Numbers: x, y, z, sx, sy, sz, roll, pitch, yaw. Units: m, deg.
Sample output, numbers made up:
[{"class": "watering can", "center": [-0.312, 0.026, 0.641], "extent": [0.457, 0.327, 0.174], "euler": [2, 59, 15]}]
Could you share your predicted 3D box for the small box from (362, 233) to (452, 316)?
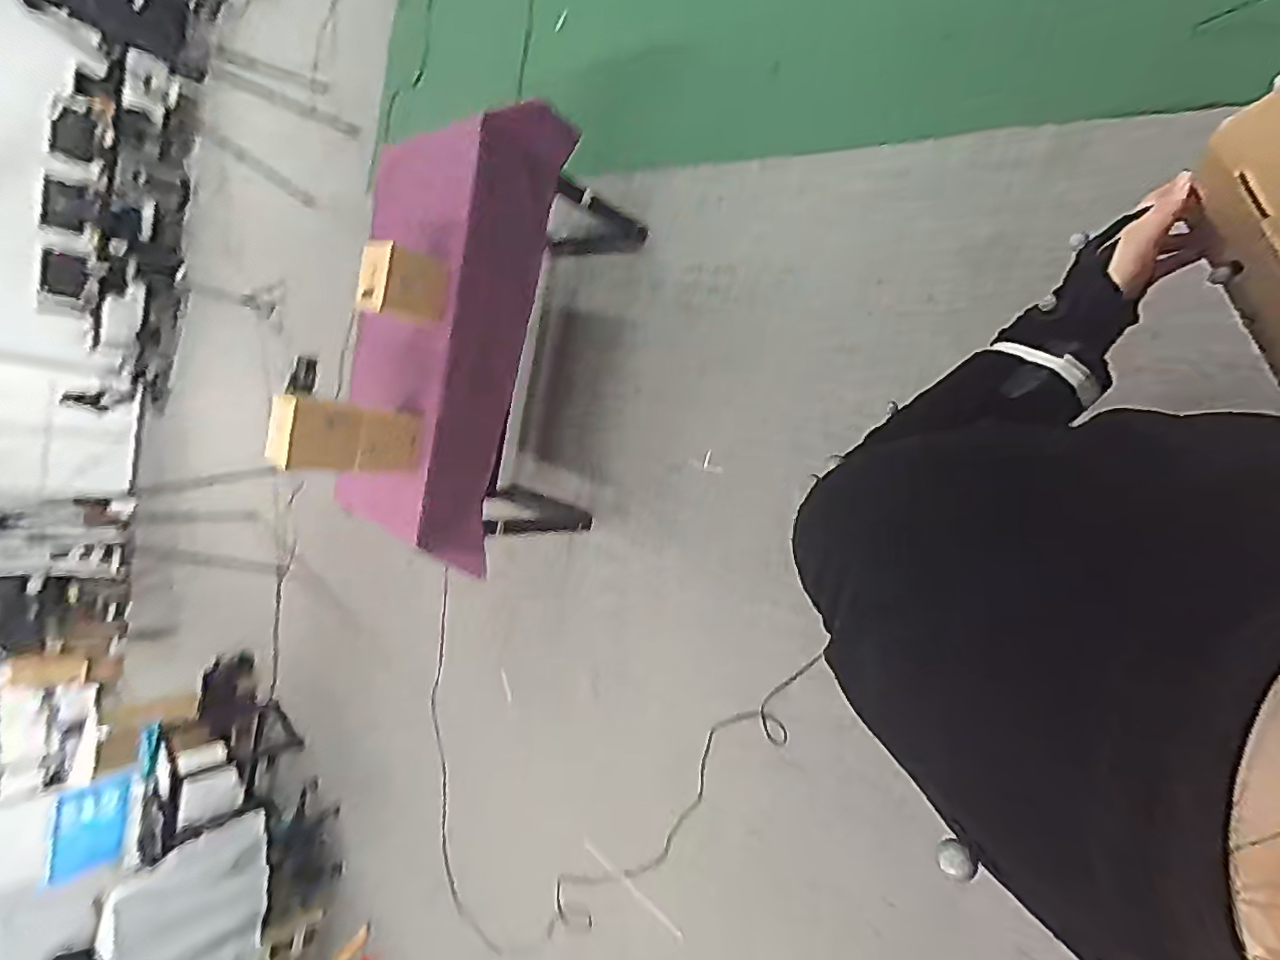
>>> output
[{"class": "small box", "center": [-0.648, -0.567, 1.508], "extent": [0.168, 0.176, 0.179], "euler": [19, 100, 38]}]

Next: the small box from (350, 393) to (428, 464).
[{"class": "small box", "center": [-0.746, -0.147, 1.570], "extent": [0.179, 0.176, 0.168], "euler": [21, 102, 39]}]

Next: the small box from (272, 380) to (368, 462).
[{"class": "small box", "center": [-0.851, -0.153, 1.444], "extent": [0.168, 0.176, 0.179], "euler": [22, 102, 39]}]
